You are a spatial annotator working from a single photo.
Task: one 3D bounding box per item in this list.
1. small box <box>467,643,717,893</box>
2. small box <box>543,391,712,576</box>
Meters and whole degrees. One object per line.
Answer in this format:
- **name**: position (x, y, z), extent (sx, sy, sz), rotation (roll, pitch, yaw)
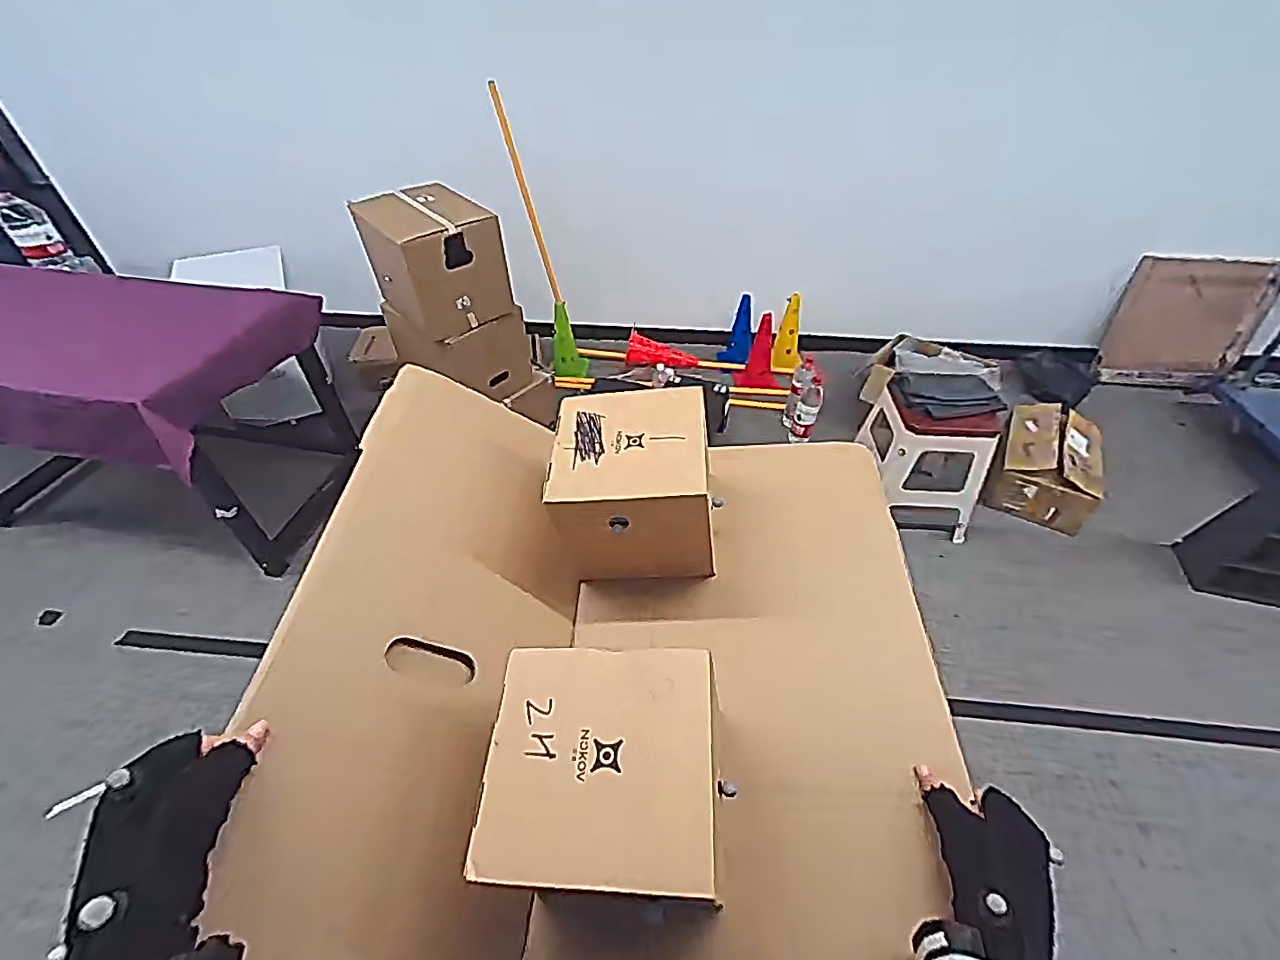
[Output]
- **small box**: position (-0.021, 0.258, 0.482), extent (0.179, 0.176, 0.168), rotation (-2, 51, 10)
- **small box**: position (-0.003, 0.010, 0.681), extent (0.179, 0.176, 0.168), rotation (-3, 51, 8)
